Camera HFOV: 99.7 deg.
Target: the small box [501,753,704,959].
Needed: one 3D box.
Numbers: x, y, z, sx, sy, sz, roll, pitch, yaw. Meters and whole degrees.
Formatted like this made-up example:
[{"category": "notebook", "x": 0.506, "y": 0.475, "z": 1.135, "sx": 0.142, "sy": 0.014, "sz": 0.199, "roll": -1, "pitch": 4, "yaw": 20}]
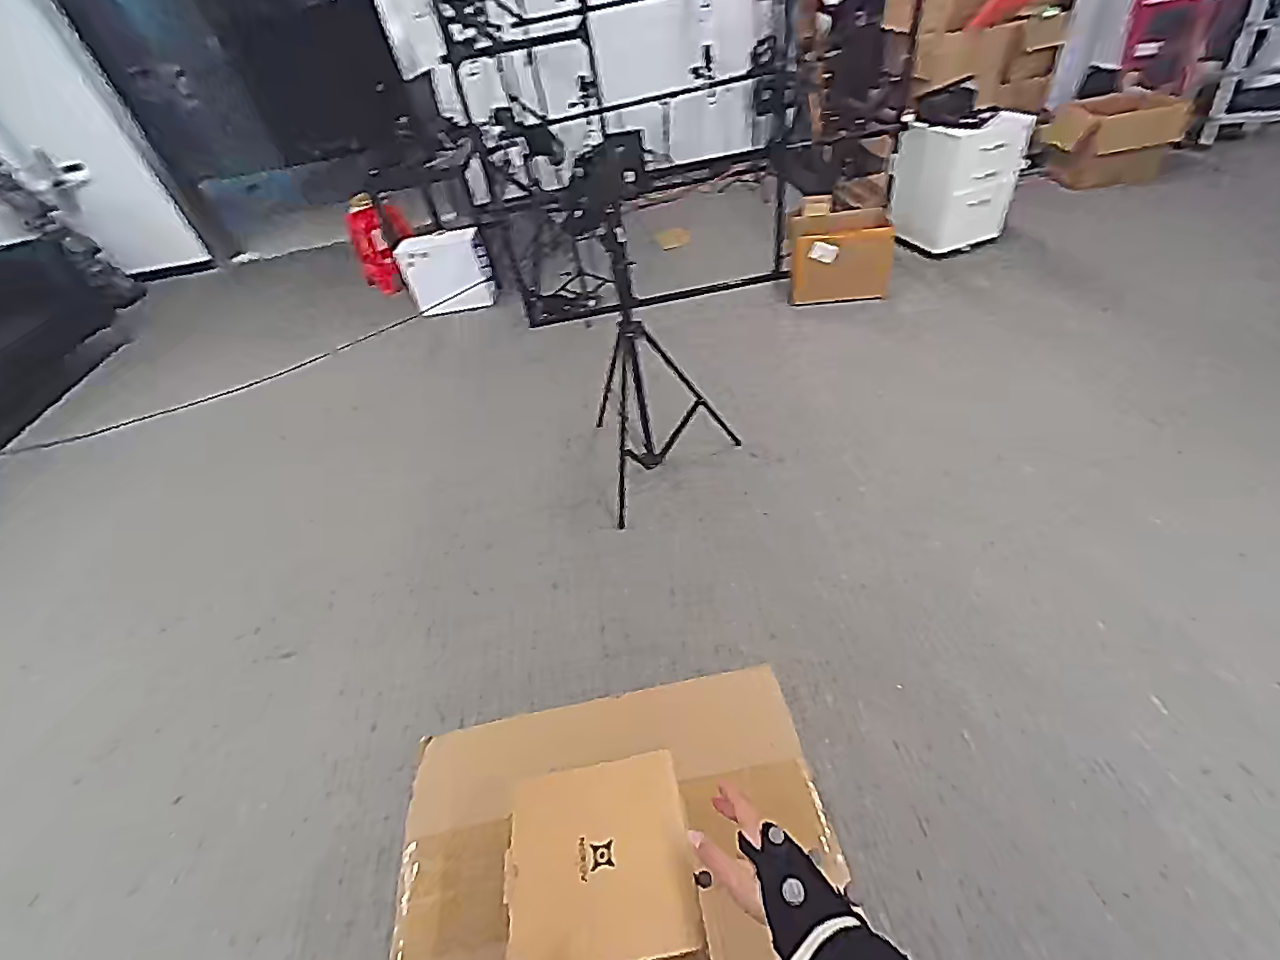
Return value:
[{"category": "small box", "x": -0.034, "y": 0.414, "z": 0.564, "sx": 0.179, "sy": 0.176, "sz": 0.168, "roll": -12, "pitch": 43, "yaw": -1}]
